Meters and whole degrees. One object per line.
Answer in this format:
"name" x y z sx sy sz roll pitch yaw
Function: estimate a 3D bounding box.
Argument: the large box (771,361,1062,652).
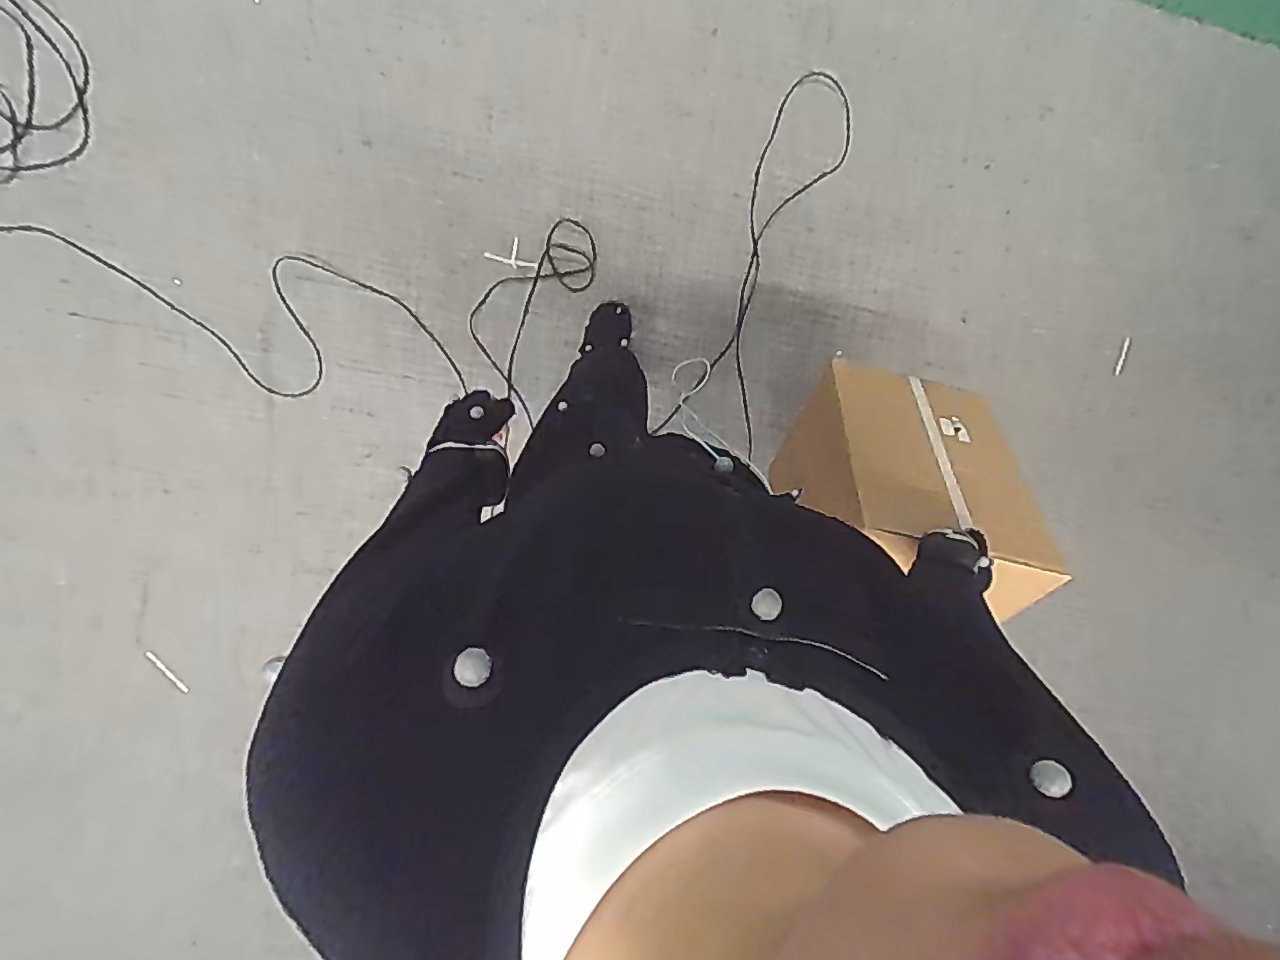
"large box" 0.449 0.049 1.000 0.320 0.408 0.320 13 138 -4
